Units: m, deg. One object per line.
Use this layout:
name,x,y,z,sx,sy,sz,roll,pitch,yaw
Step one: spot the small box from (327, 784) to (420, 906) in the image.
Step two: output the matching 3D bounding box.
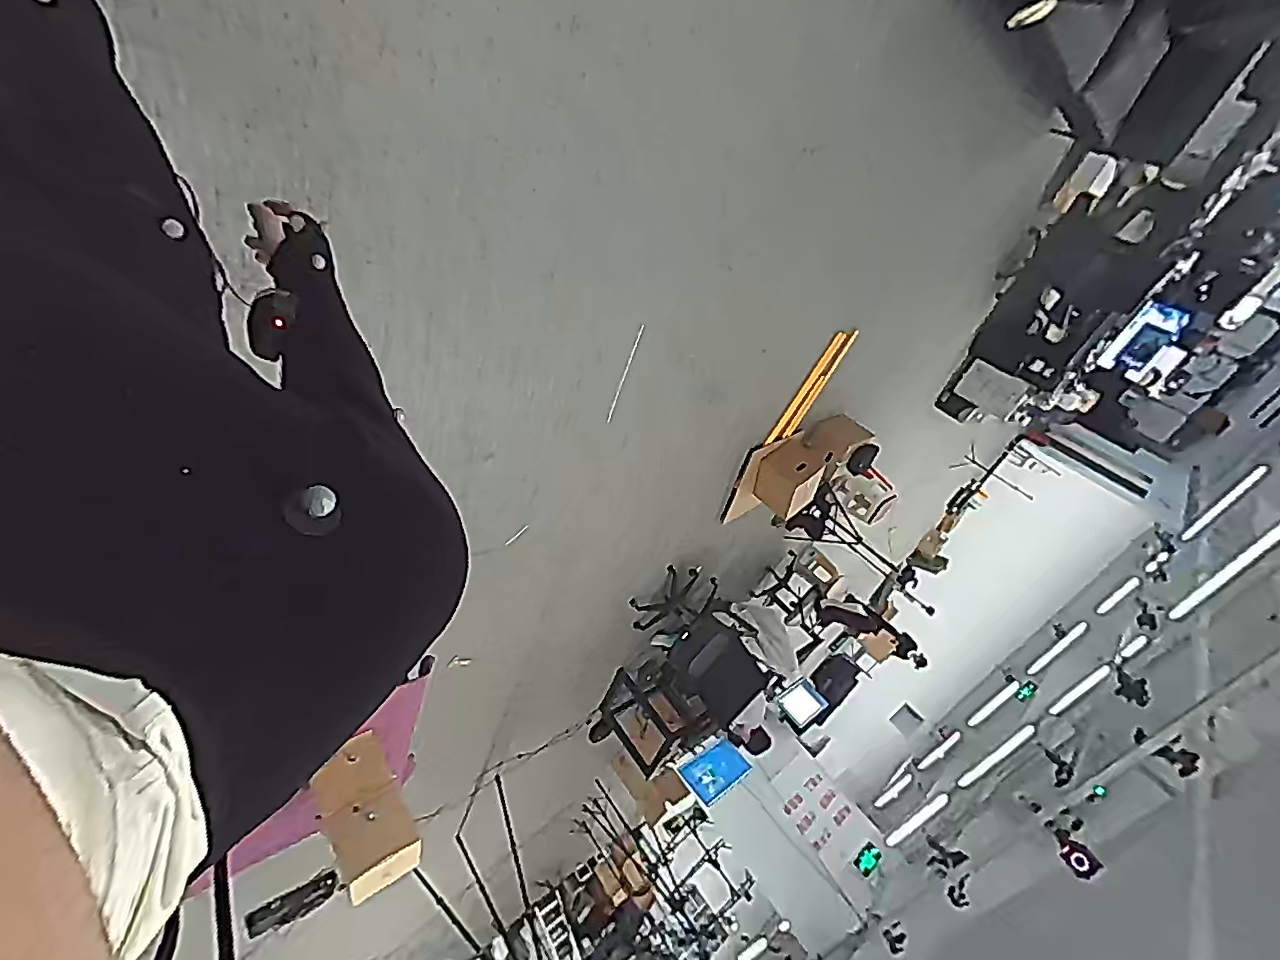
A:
small box,-0.672,0.910,1.362,0.168,0.176,0.179,-16,137,-39

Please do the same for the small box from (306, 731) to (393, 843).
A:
small box,-0.776,0.813,1.444,0.168,0.176,0.179,-15,136,-39
